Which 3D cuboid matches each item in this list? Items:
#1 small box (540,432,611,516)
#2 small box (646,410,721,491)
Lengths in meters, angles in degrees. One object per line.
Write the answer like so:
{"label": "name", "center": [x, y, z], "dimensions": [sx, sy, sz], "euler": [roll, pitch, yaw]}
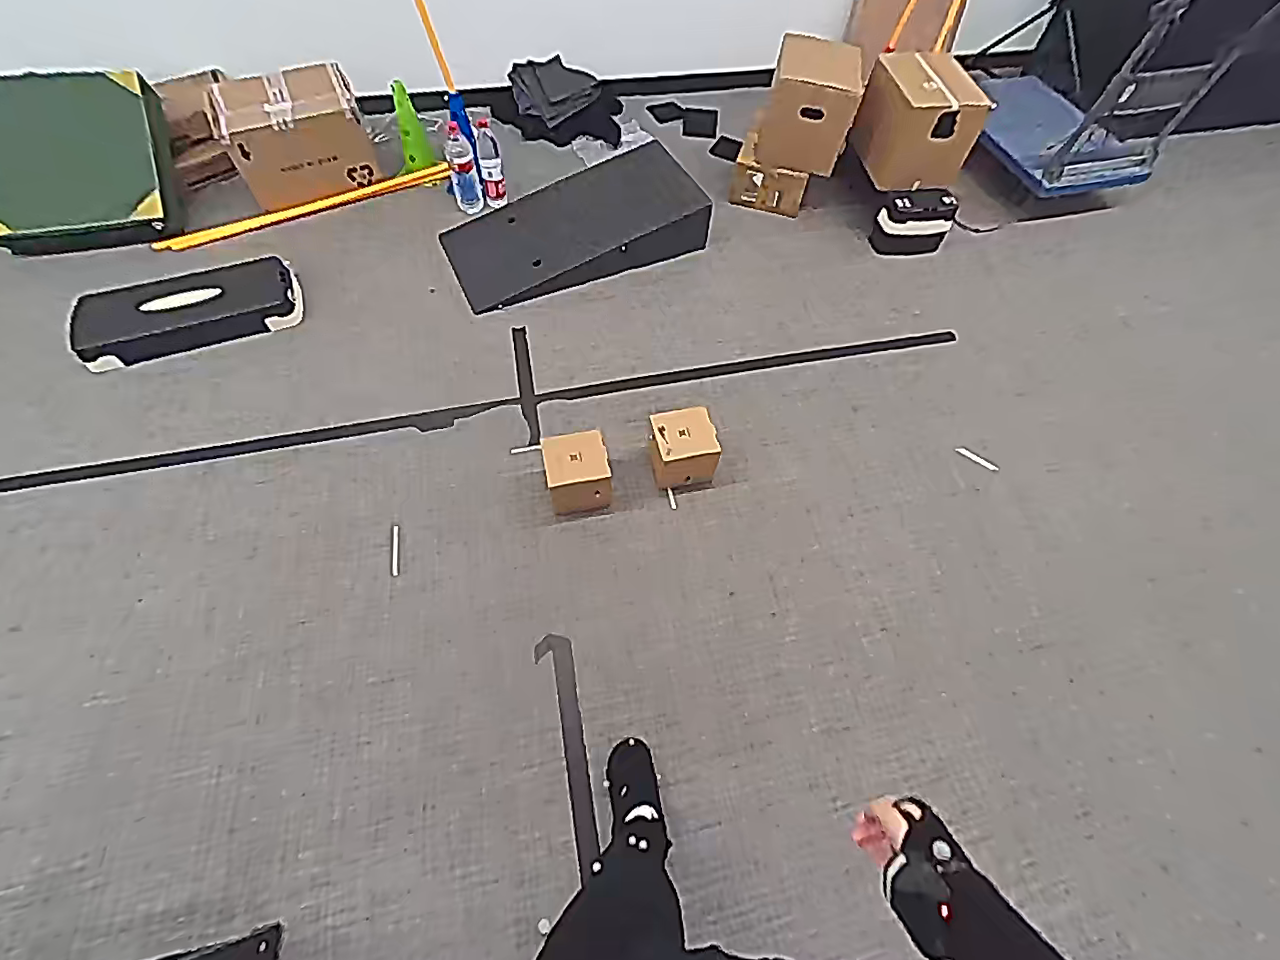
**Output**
{"label": "small box", "center": [-0.184, -0.015, 1.558], "dimensions": [0.179, 0.176, 0.168], "euler": [-10, 60, -8]}
{"label": "small box", "center": [0.123, -0.086, 1.616], "dimensions": [0.179, 0.176, 0.168], "euler": [-10, 60, -9]}
